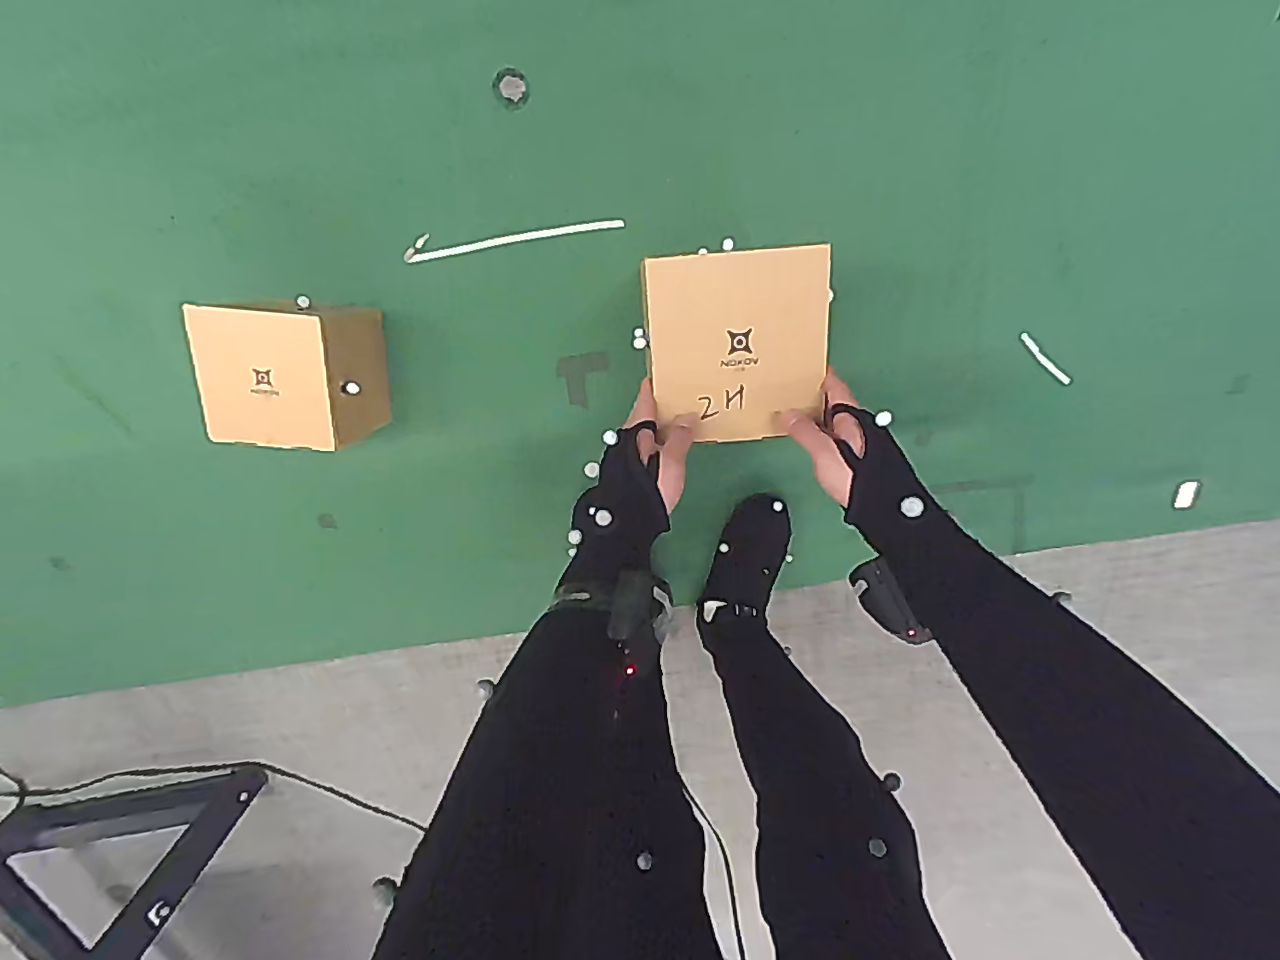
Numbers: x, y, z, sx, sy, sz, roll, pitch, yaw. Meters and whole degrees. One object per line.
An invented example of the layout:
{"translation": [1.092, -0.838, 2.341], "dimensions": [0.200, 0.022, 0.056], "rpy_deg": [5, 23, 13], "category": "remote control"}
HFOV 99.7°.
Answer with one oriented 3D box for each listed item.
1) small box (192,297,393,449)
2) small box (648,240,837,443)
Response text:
{"translation": [-0.465, -0.156, 0.756], "dimensions": [0.168, 0.176, 0.179], "rpy_deg": [5, 112, -2], "category": "small box"}
{"translation": [0.095, -0.147, 0.572], "dimensions": [0.168, 0.176, 0.179], "rpy_deg": [-4, 109, 1], "category": "small box"}
